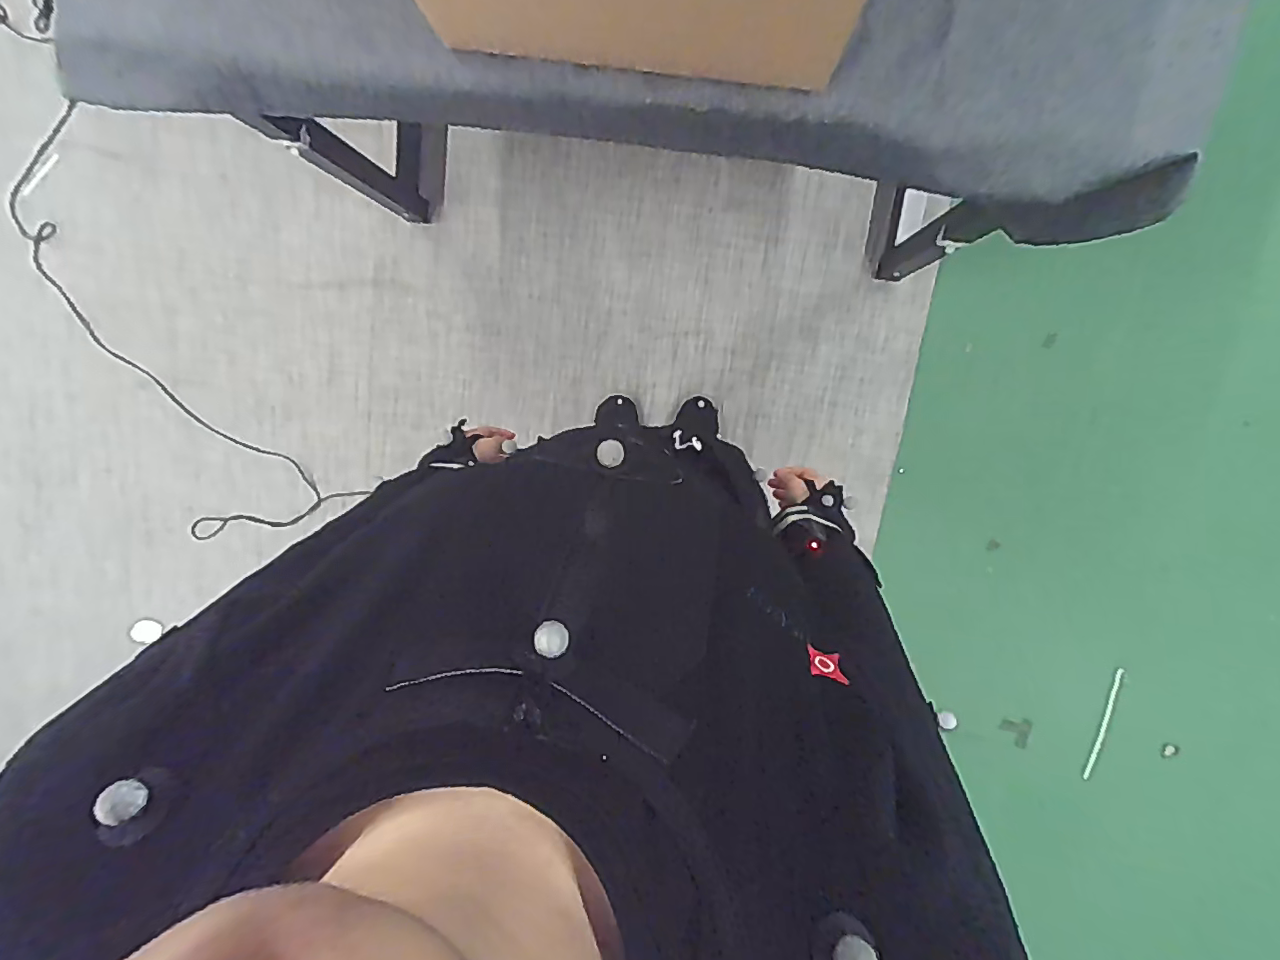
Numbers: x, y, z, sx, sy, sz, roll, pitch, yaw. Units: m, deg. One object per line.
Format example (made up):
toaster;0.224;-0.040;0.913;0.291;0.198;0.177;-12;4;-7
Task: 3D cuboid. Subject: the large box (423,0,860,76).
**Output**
large box;0.001;-0.561;0.391;0.408;0.320;0.320;8;99;2
